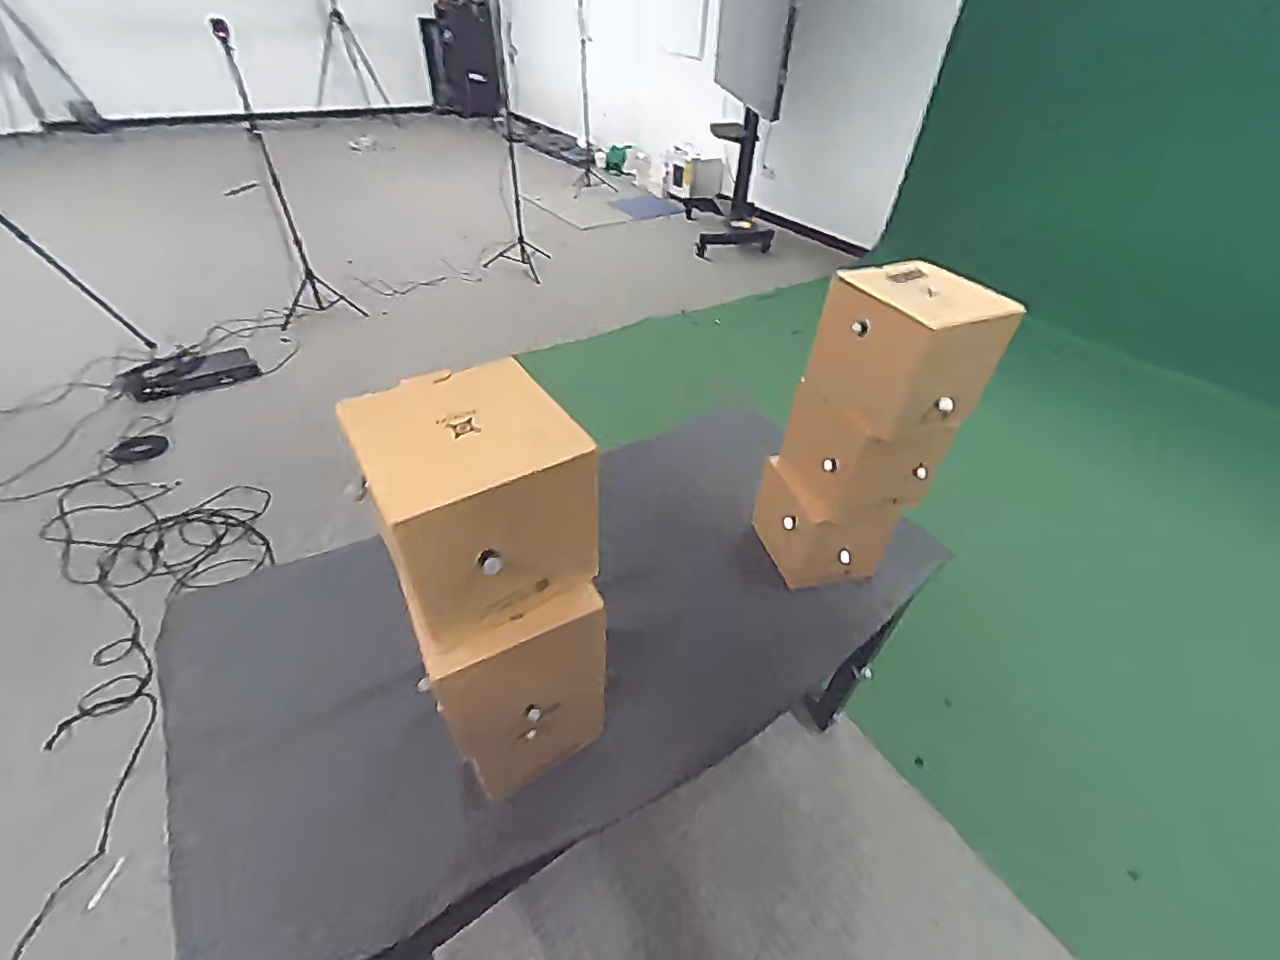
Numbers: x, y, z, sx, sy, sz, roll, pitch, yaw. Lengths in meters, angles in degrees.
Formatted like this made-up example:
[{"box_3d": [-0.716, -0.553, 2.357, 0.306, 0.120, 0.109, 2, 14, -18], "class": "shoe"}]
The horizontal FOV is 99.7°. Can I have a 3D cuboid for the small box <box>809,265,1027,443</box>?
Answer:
[{"box_3d": [0.360, -0.176, 0.740, 0.168, 0.176, 0.179, -16, 45, -20], "class": "small box"}]

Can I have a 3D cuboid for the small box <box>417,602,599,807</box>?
[{"box_3d": [-0.166, 0.275, 0.701, 0.168, 0.176, 0.179, -23, 47, -26], "class": "small box"}]

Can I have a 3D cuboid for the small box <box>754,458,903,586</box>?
[{"box_3d": [0.318, 0.069, 0.953, 0.168, 0.176, 0.179, -8, 41, -12], "class": "small box"}]

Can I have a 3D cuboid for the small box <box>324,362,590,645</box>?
[{"box_3d": [-0.155, 0.022, 0.492, 0.168, 0.176, 0.179, -23, 47, -26], "class": "small box"}]

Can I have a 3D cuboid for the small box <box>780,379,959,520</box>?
[{"box_3d": [0.345, -0.053, 0.849, 0.168, 0.176, 0.179, -11, 41, -16], "class": "small box"}]
